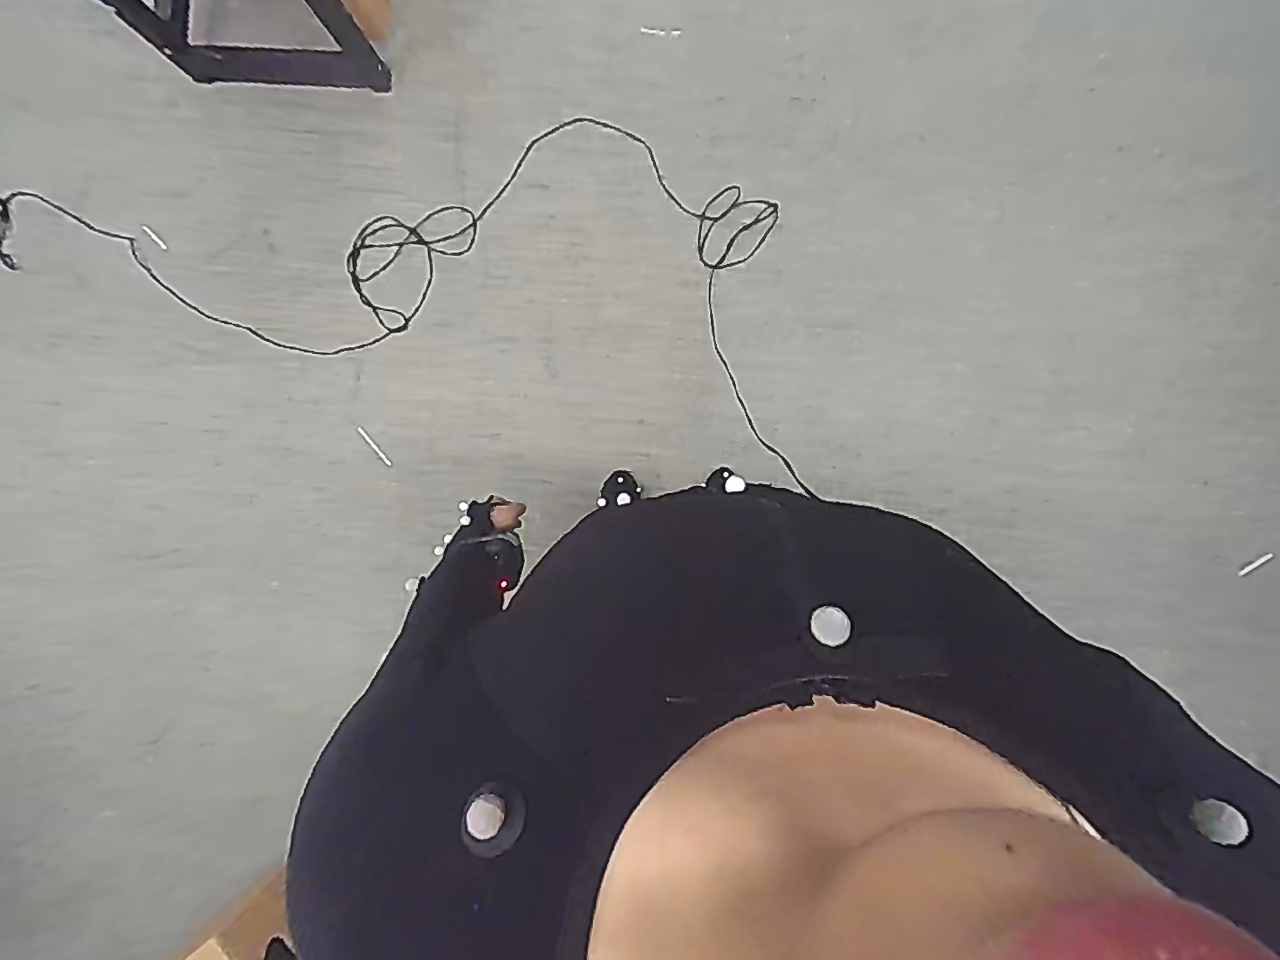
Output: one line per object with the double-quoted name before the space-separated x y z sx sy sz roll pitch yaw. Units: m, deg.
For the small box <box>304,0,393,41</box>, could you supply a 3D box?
"small box" -0.781 -1.320 1.440 0.179 0.176 0.168 9 91 3
